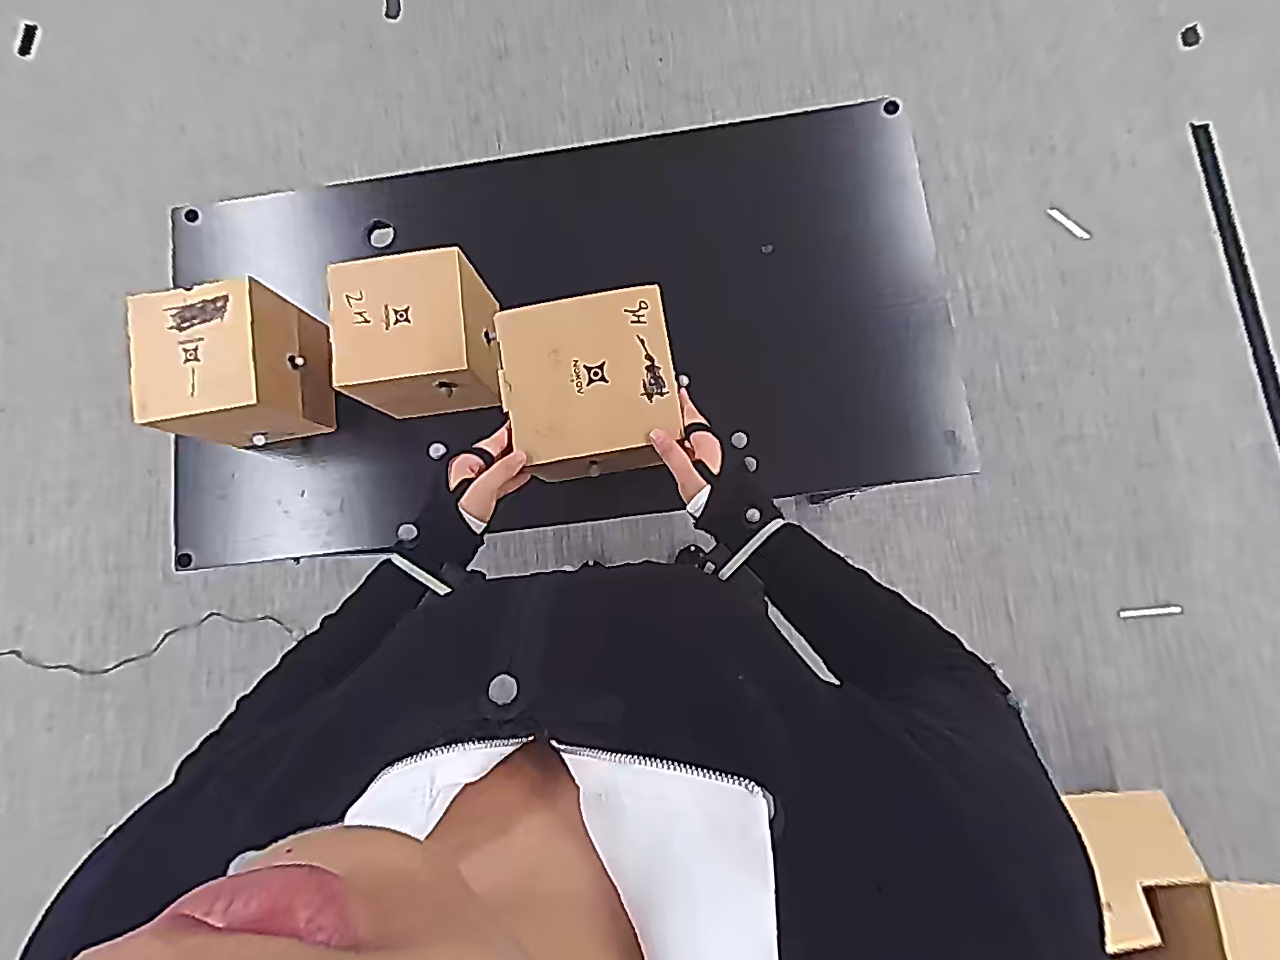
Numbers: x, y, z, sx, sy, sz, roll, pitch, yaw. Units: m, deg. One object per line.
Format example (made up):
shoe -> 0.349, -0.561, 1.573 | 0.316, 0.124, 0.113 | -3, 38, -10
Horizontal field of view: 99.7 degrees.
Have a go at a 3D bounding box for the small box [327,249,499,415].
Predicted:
small box -> -0.306, -0.198, 0.765 | 0.179, 0.176, 0.168 | -7, 82, 2

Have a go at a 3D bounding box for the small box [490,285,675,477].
small box -> -0.056, -0.101, 0.634 | 0.179, 0.176, 0.168 | -9, 84, 2

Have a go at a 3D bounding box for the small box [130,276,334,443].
small box -> -0.571, -0.162, 0.775 | 0.168, 0.176, 0.179 | -9, 84, 2
